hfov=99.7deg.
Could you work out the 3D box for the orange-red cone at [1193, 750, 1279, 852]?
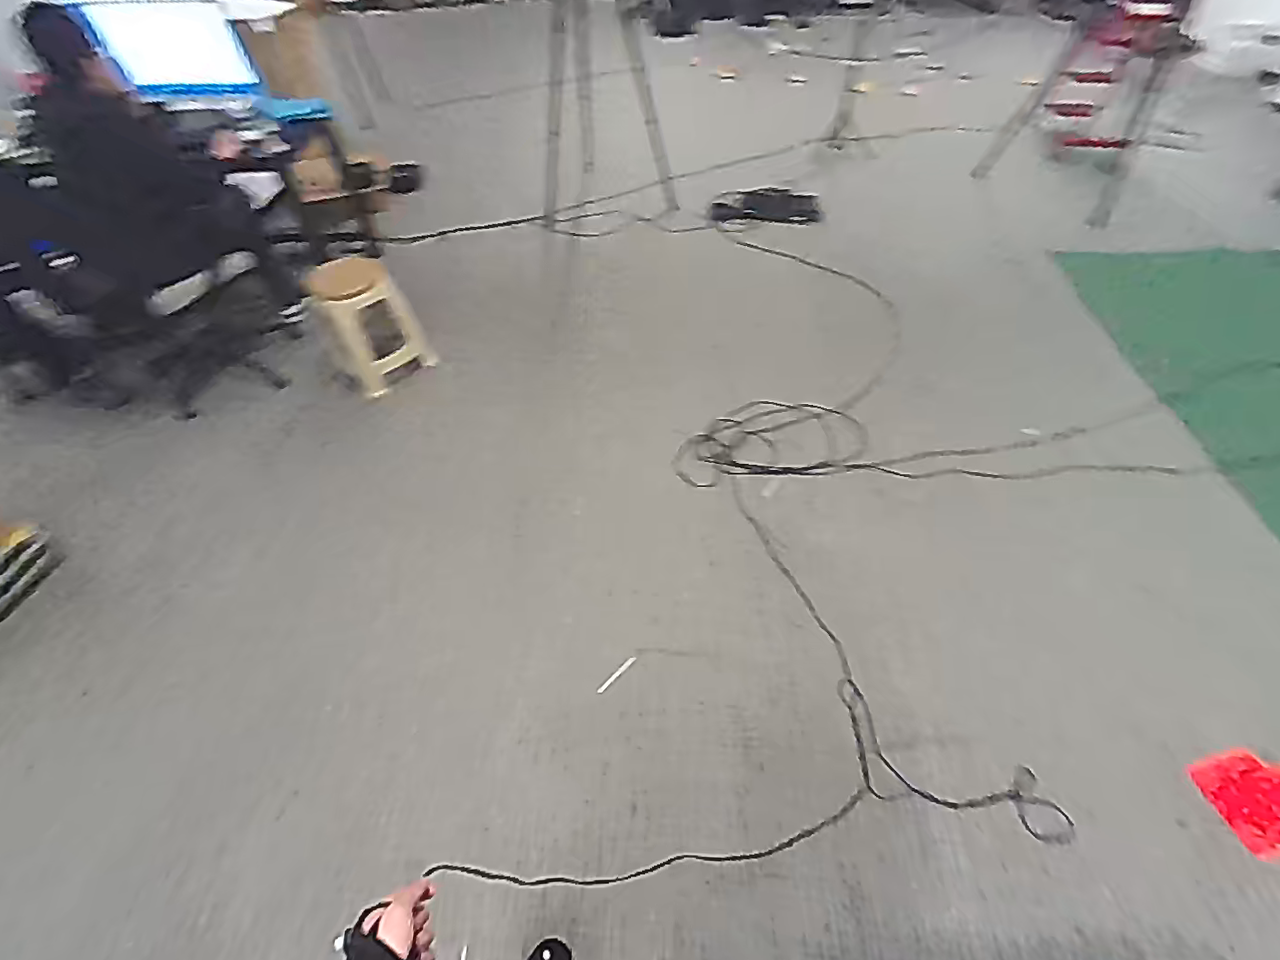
[{"bbox_3d":[1.520,0.684,1.214,0.198,0.360,0.199,-11,50,-8],"label":"orange-red cone"}]
